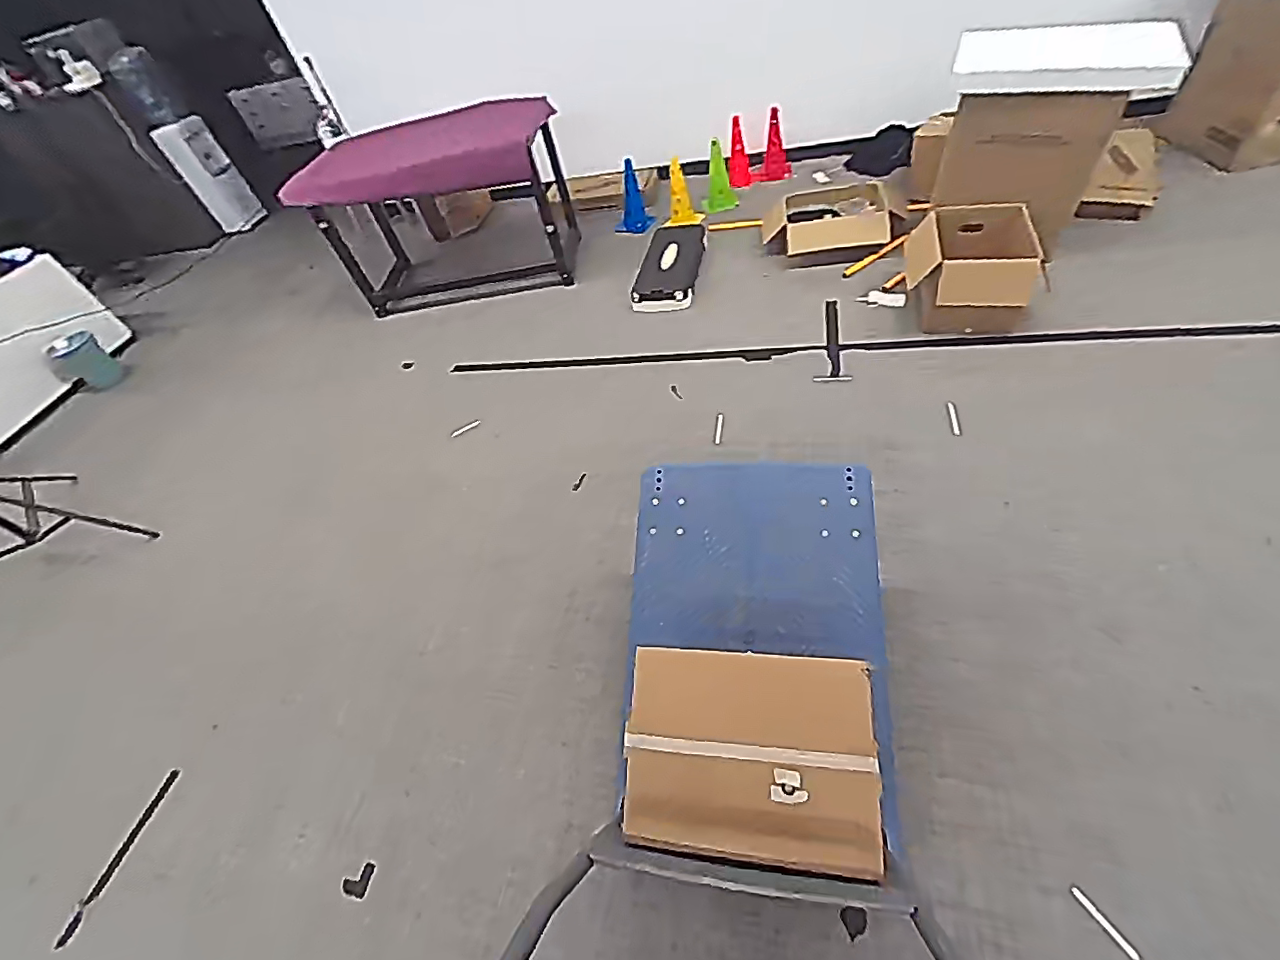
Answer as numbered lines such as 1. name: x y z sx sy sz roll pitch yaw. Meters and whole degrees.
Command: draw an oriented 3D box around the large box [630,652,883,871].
1. large box: 0.211 0.515 1.048 0.408 0.320 0.320 -1 68 12
